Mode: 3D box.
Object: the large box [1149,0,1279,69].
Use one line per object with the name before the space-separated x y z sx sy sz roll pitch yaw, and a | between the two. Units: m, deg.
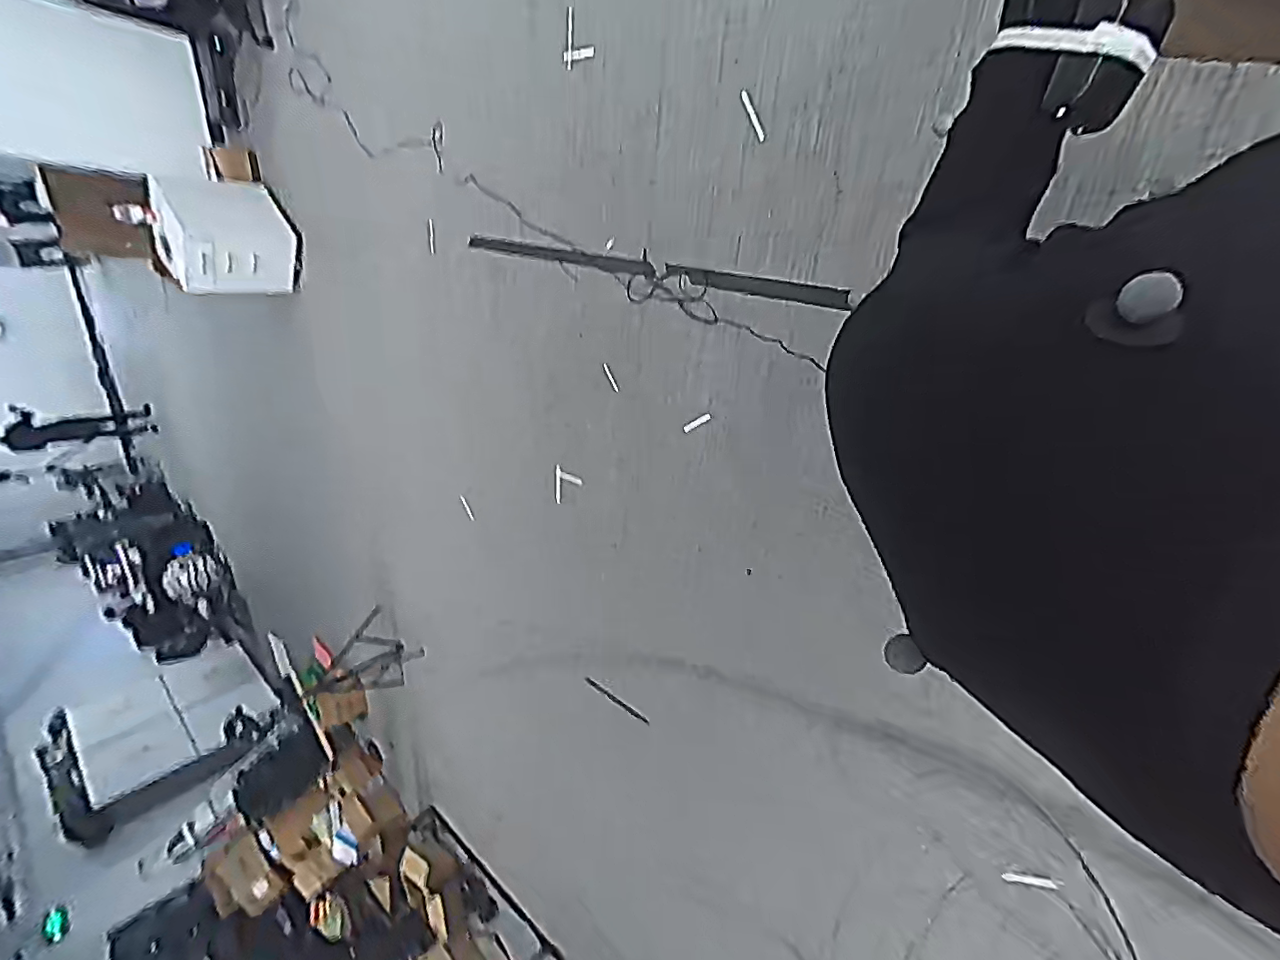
large box | 0.566 -0.401 0.245 0.408 0.320 0.320 30 128 29
